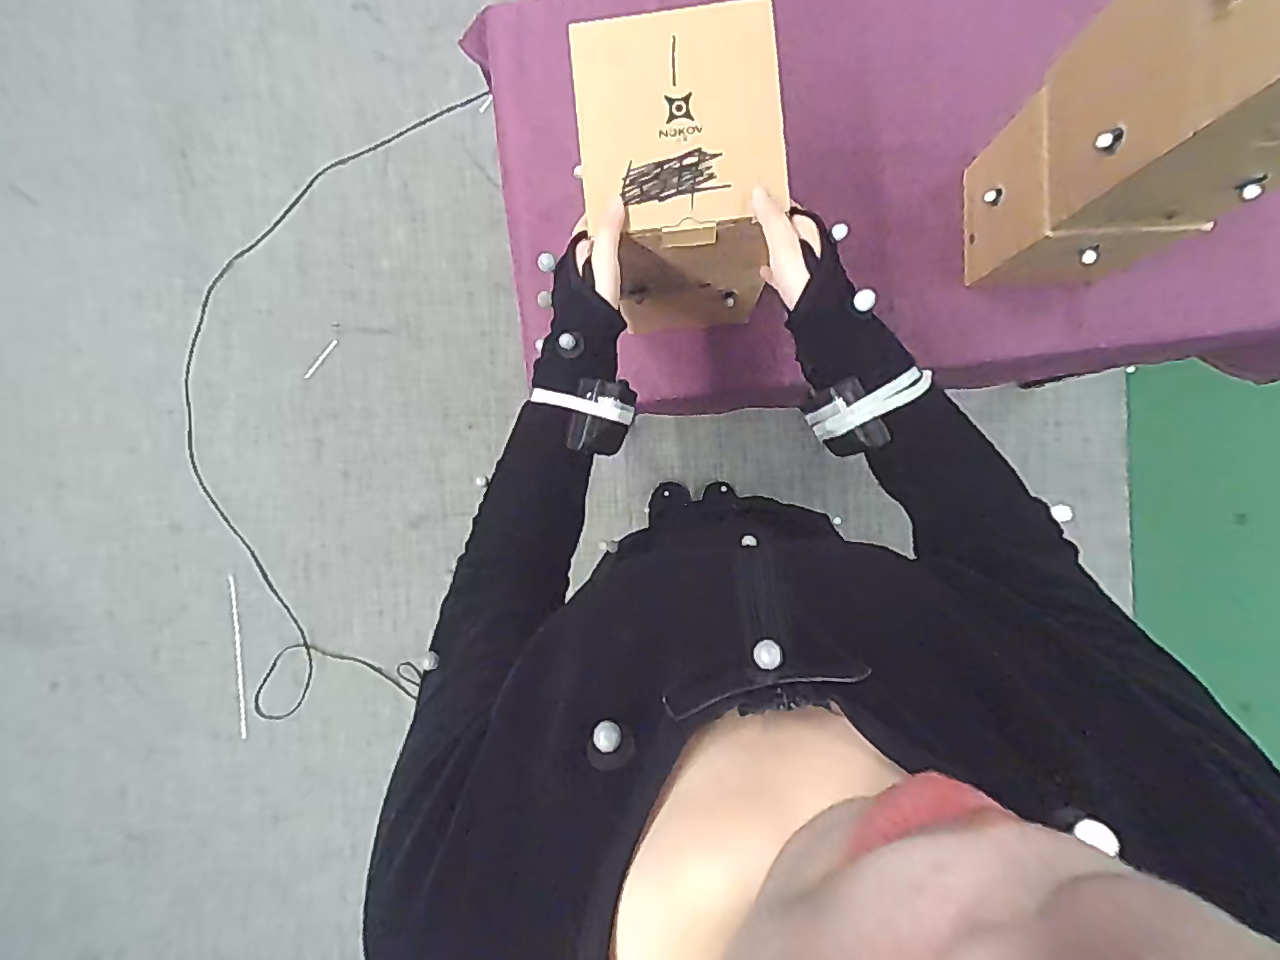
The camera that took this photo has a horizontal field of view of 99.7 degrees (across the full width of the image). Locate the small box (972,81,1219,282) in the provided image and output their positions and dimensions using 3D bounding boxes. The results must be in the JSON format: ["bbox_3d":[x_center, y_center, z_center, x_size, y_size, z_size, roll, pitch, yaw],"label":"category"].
[{"bbox_3d":[0.532,-0.351,0.657,0.179,0.176,0.168,0,91,5],"label":"small box"}]

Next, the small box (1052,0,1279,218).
[{"bbox_3d":[0.517,-0.358,0.495,0.168,0.176,0.179,0,90,4],"label":"small box"}]

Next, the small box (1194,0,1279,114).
[{"bbox_3d":[0.501,-0.358,0.331,0.168,0.176,0.179,-1,91,4],"label":"small box"}]

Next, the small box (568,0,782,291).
[{"bbox_3d":[0.034,-0.292,0.514,0.168,0.176,0.179,-5,90,4],"label":"small box"}]

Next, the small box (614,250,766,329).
[{"bbox_3d":[0.059,-0.303,0.699,0.179,0.176,0.168,-5,90,5],"label":"small box"}]
